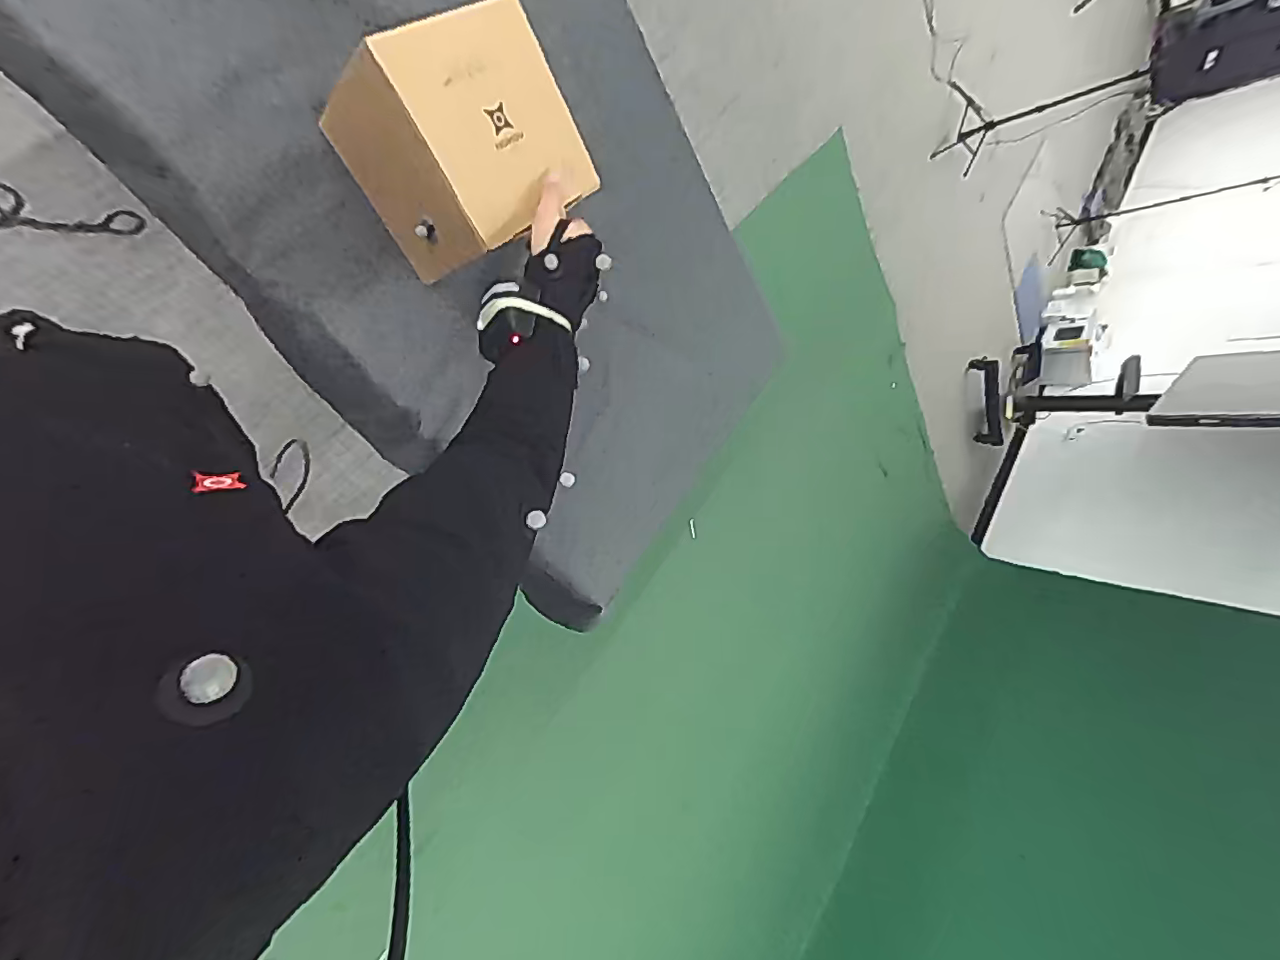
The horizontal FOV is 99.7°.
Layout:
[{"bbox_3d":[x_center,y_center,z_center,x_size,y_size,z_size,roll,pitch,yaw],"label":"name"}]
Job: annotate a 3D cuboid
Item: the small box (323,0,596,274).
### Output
[{"bbox_3d":[-0.184,-0.333,0.559,0.168,0.176,0.179,-47,123,-28],"label":"small box"}]
